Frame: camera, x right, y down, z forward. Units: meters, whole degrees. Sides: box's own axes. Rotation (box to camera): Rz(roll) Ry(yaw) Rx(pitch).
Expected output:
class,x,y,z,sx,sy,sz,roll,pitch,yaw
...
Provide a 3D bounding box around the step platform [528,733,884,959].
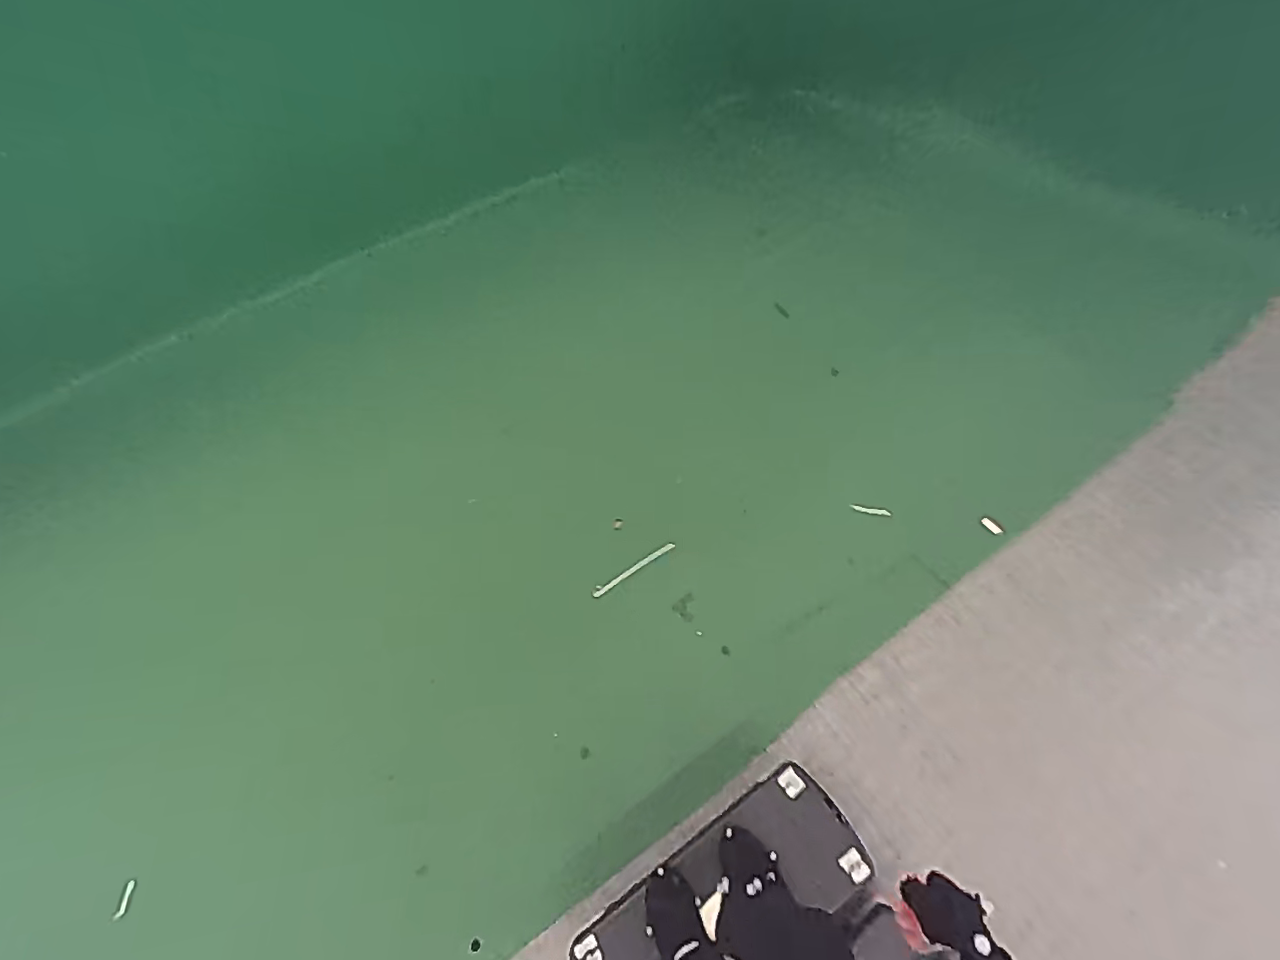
class,x,y,z,sx,sy,sz,roll,pitch,yaw
step platform,0.135,0.825,1.065,0.684,0.204,0.286,-33,60,-14
